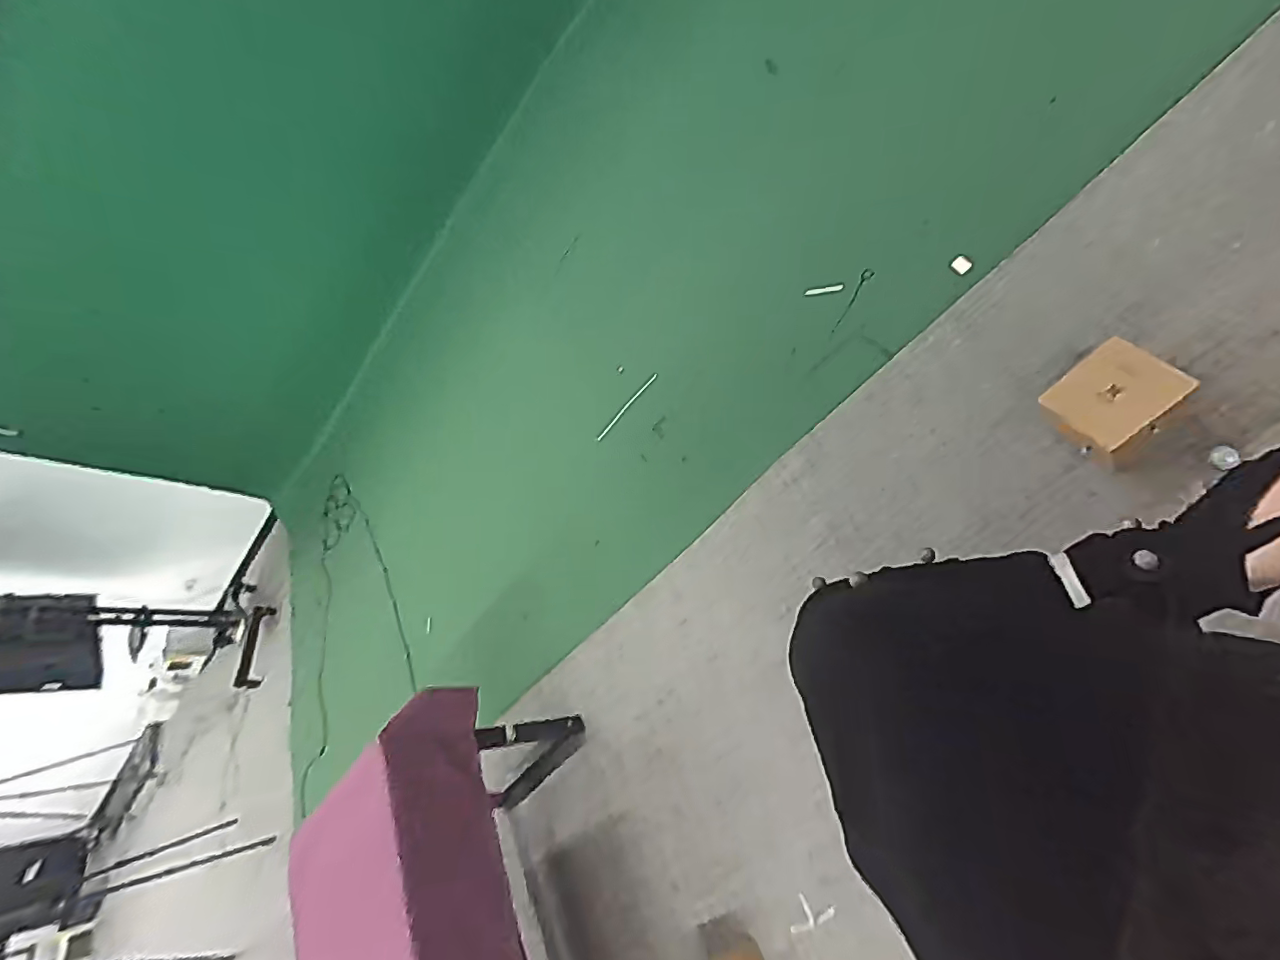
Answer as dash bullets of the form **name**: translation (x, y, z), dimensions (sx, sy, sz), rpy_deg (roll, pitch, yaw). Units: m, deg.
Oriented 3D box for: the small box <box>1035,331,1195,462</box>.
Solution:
- **small box**: translation (0.954, -0.160, 1.094), dimensions (0.179, 0.176, 0.168), rpy_deg (-47, 52, 21)
